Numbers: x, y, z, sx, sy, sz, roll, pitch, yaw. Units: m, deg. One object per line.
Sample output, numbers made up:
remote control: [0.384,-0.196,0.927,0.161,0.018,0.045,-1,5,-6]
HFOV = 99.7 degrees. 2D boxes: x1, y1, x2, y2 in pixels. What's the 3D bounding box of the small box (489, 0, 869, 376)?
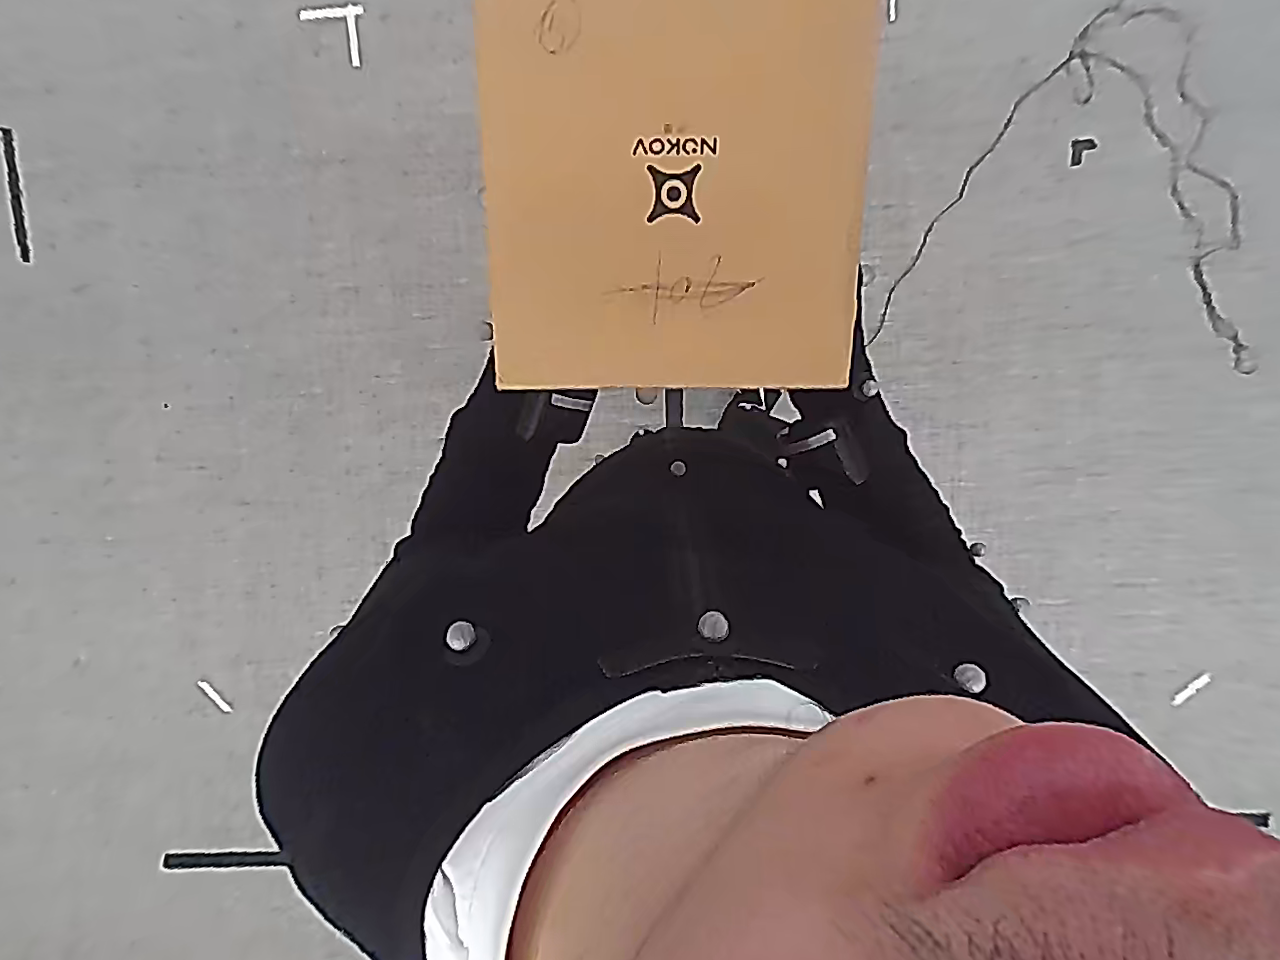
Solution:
small box: [0.017,-0.153,0.323,0.168,0.176,0.179,0,103,2]
